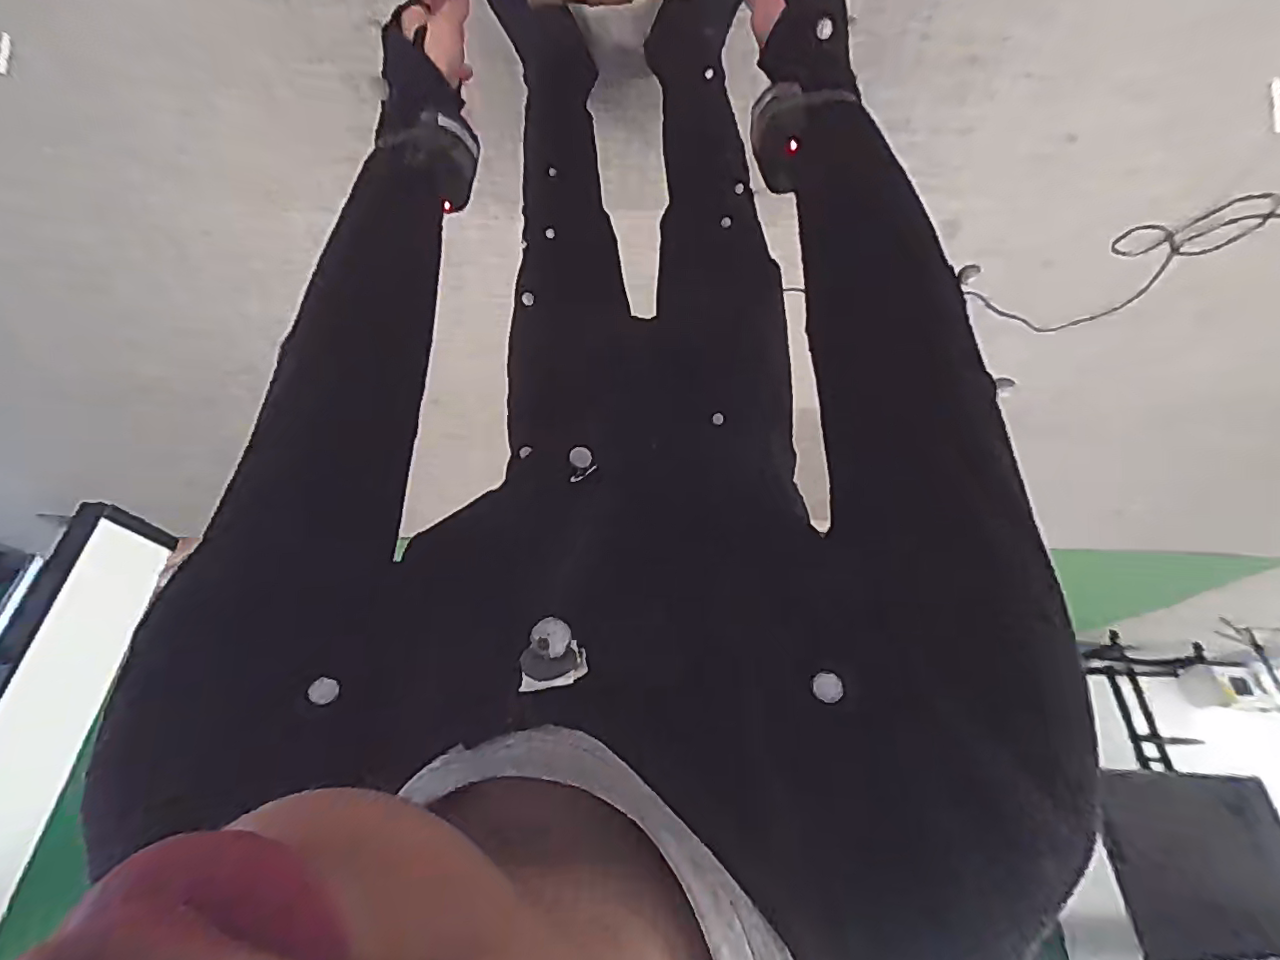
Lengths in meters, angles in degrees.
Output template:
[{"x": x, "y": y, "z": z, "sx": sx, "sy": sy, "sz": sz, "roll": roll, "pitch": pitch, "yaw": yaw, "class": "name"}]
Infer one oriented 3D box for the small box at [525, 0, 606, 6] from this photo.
[{"x": -0.037, "y": -0.580, "z": 0.489, "sx": 0.168, "sy": 0.176, "sz": 0.179, "roll": -1, "pitch": 153, "yaw": 4, "class": "small box"}]
